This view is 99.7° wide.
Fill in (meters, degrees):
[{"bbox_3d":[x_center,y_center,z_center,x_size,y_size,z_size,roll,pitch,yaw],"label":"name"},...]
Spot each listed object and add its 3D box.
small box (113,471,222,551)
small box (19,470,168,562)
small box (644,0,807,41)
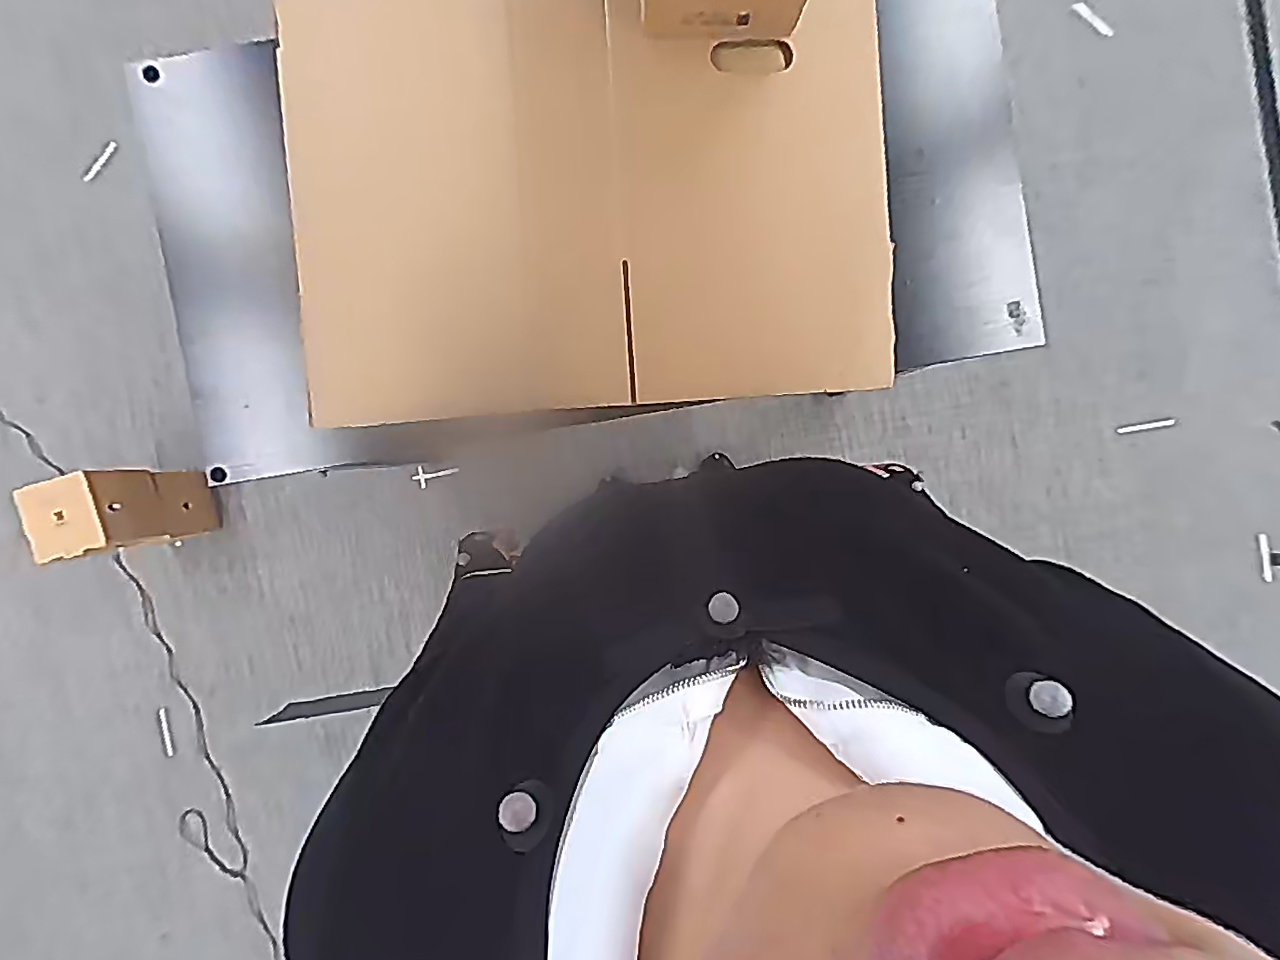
[{"bbox_3d":[-1.275,0.078,1.444,0.168,0.176,0.179,-13,92,1],"label":"small box"},{"bbox_3d":[-1.280,0.078,1.282,0.168,0.176,0.179,-17,90,1],"label":"small box"},{"bbox_3d":[0.087,-0.561,0.500,0.168,0.176,0.179,-2,90,-2],"label":"small box"}]
